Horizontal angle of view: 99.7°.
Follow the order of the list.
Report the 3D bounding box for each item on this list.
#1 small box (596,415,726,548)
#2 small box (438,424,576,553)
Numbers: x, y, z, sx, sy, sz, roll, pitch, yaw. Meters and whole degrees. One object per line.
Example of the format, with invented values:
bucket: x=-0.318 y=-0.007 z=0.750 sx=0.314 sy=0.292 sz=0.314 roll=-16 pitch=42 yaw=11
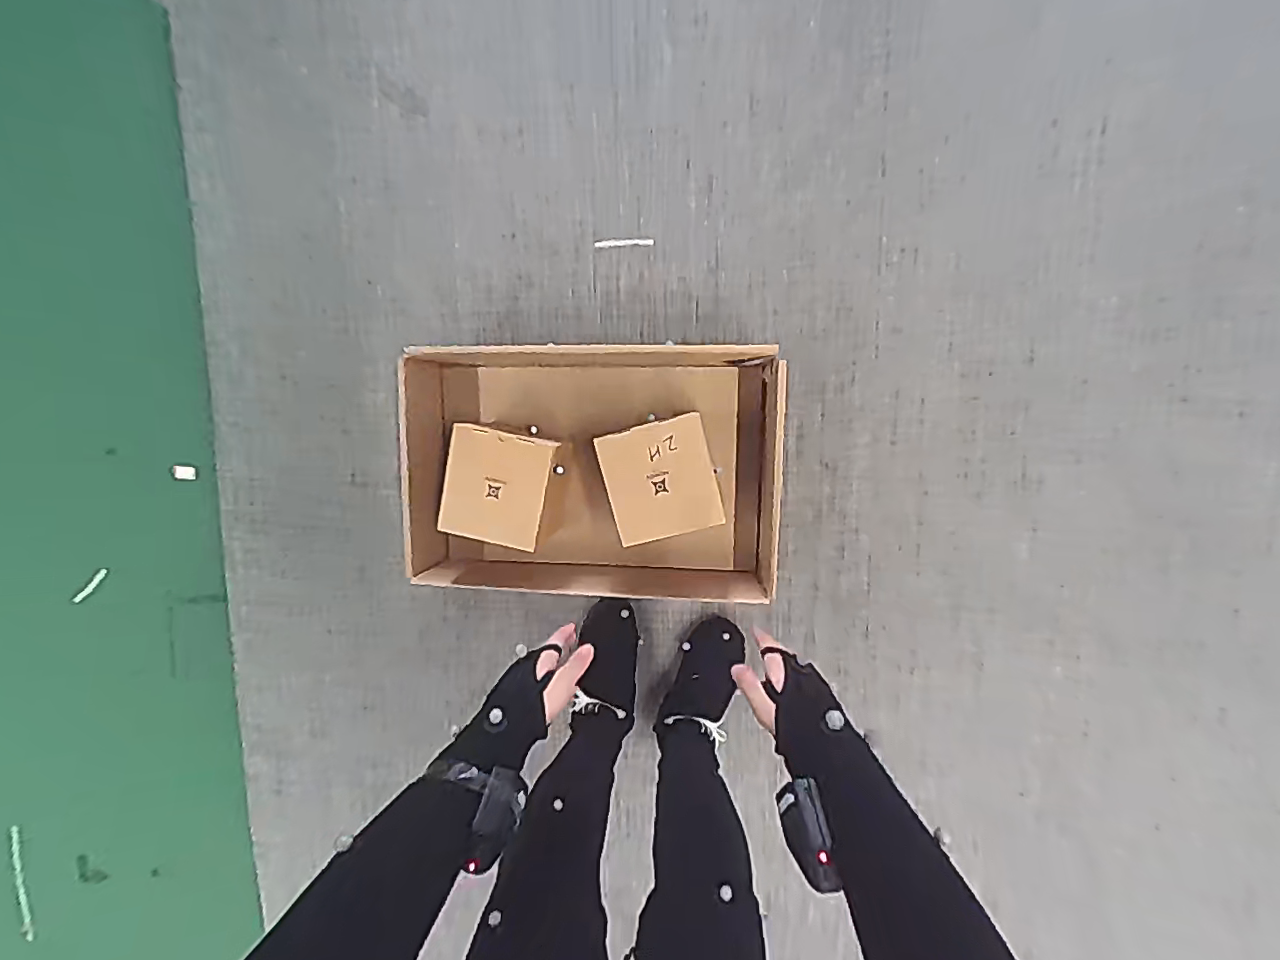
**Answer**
small box: x=0.043 y=-0.006 z=0.888 sx=0.168 sy=0.176 sz=0.179 roll=-14 pitch=94 yaw=9
small box: x=-0.217 y=0.006 z=0.922 sx=0.168 sy=0.176 sz=0.179 roll=13 pitch=96 yaw=5
